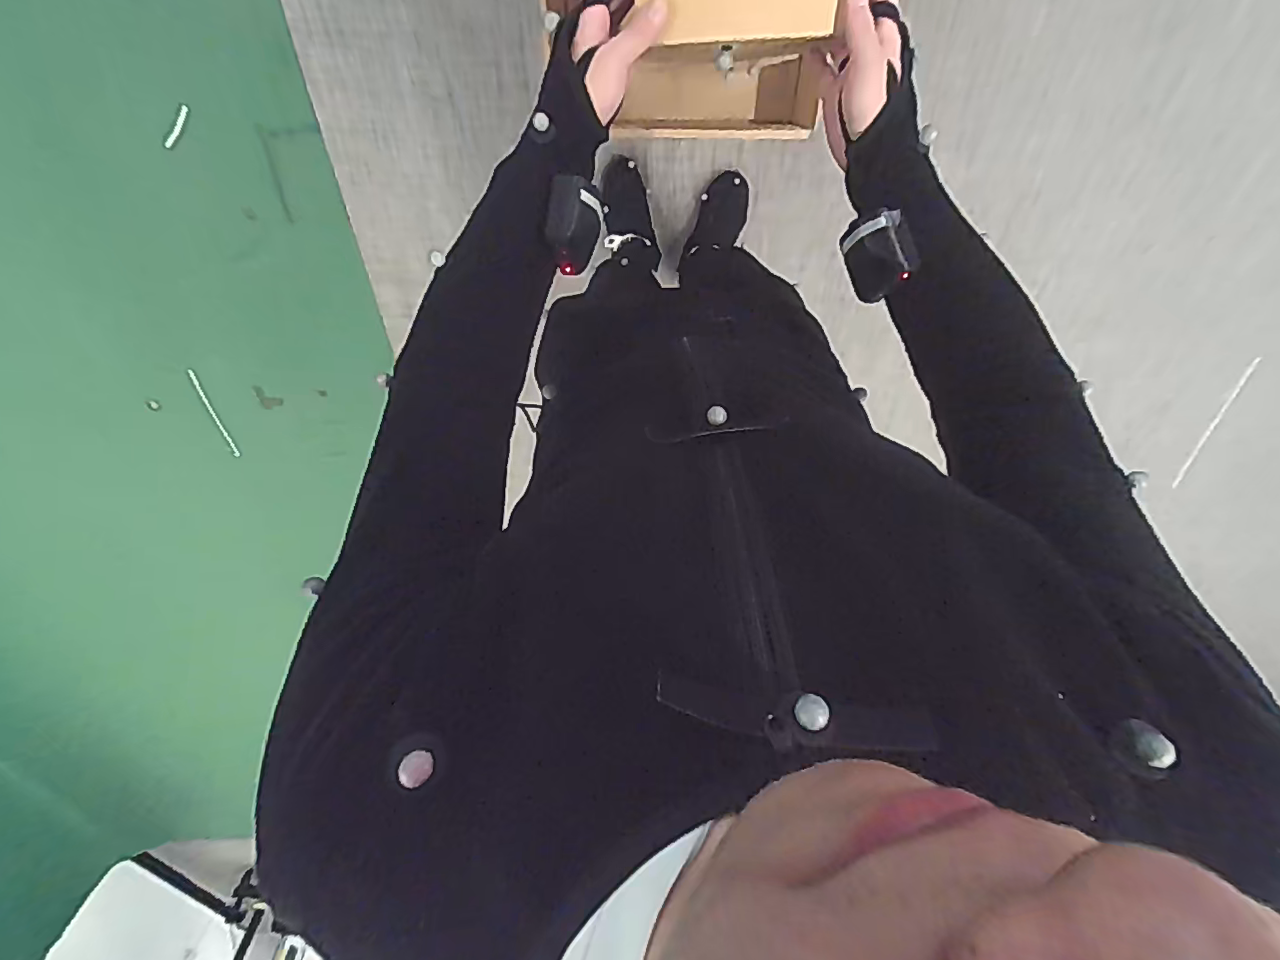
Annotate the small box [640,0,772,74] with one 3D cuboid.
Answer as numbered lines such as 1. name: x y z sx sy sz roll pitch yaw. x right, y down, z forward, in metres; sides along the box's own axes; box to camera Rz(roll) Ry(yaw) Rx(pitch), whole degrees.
1. small box: 0.089 -0.666 0.744 0.179 0.176 0.168 -1 125 0

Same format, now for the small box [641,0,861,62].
1. small box: 0.088 -0.474 0.469 0.179 0.176 0.168 -2 124 1
